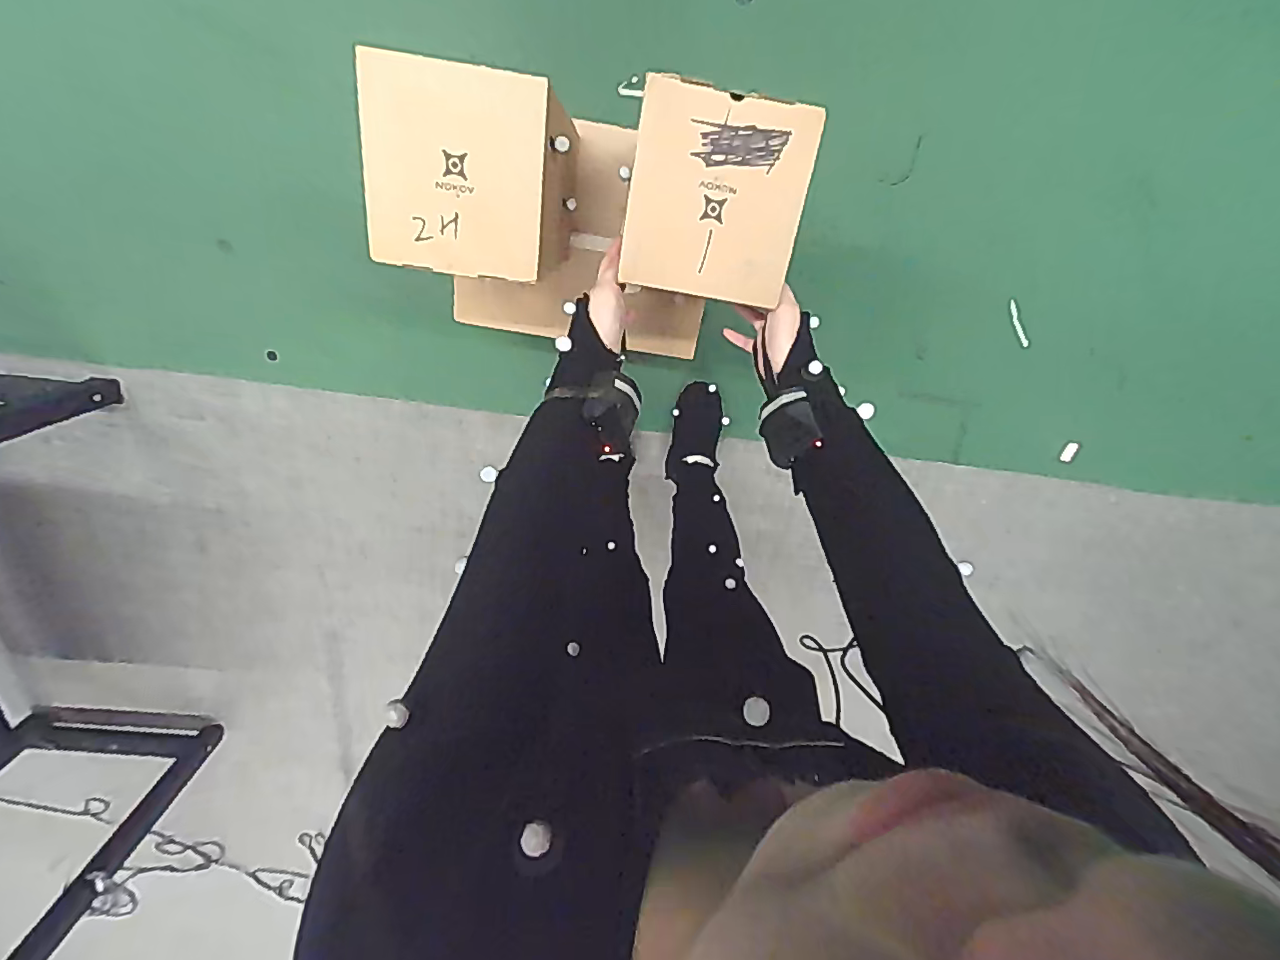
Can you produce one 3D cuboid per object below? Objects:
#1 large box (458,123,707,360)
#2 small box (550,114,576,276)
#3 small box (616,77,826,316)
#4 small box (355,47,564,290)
[{"bbox_3d":[-0.084,-0.422,0.966,0.408,0.320,0.320,7,115,-5],"label":"large box"},{"bbox_3d":[-0.179,-0.381,0.717,0.168,0.176,0.179,8,114,-5],"label":"small box"},{"bbox_3d":[0.069,-0.282,0.573,0.168,0.176,0.179,9,111,-3],"label":"small box"},{"bbox_3d":[-0.175,-0.309,0.568,0.168,0.176,0.179,7,114,-4],"label":"small box"}]
